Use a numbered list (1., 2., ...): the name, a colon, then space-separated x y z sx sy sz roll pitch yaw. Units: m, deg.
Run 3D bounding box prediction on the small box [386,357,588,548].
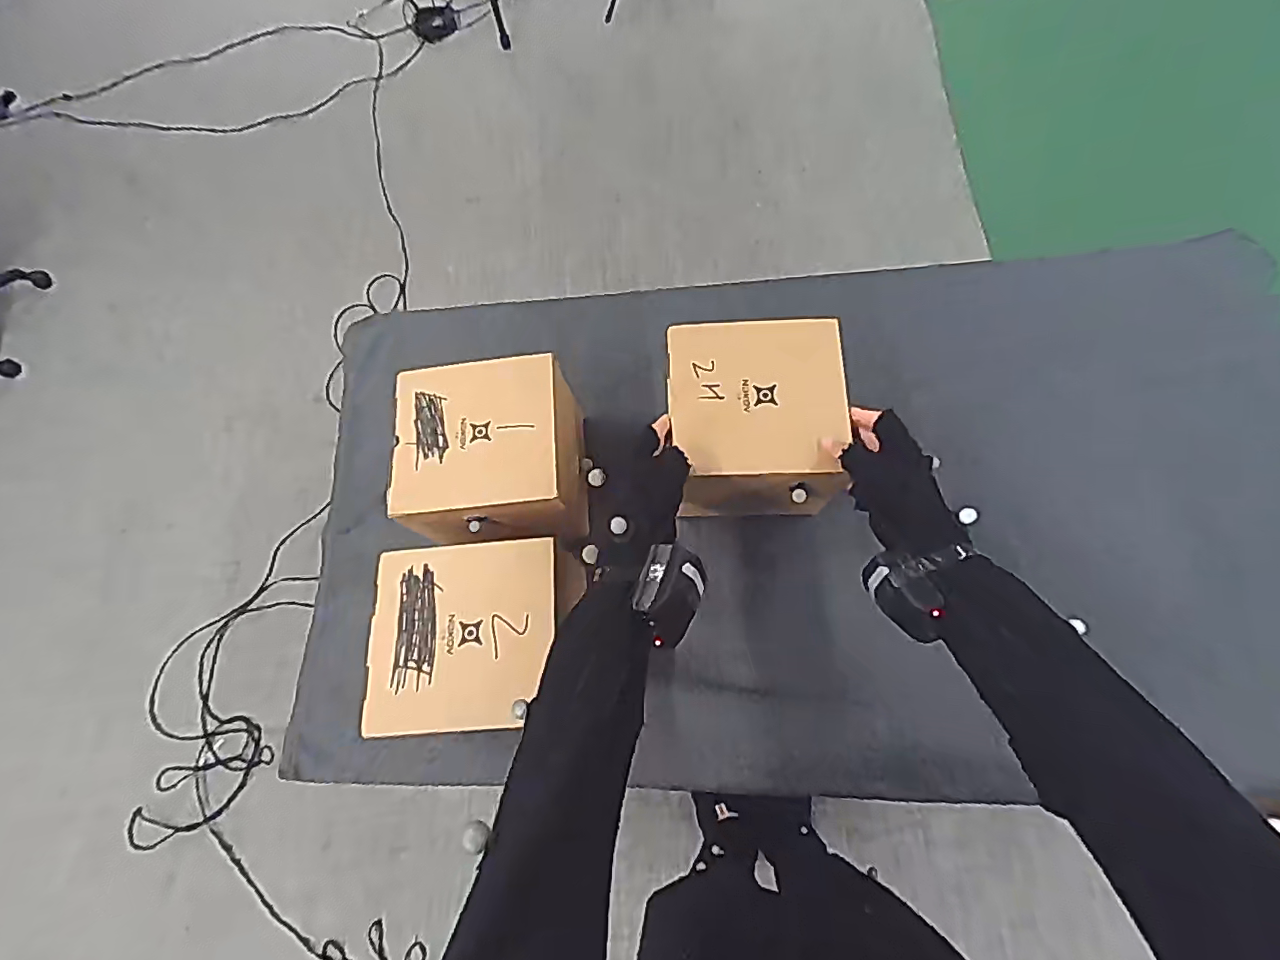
1. small box: -0.165 -0.021 0.635 0.179 0.176 0.168 -6 71 4
